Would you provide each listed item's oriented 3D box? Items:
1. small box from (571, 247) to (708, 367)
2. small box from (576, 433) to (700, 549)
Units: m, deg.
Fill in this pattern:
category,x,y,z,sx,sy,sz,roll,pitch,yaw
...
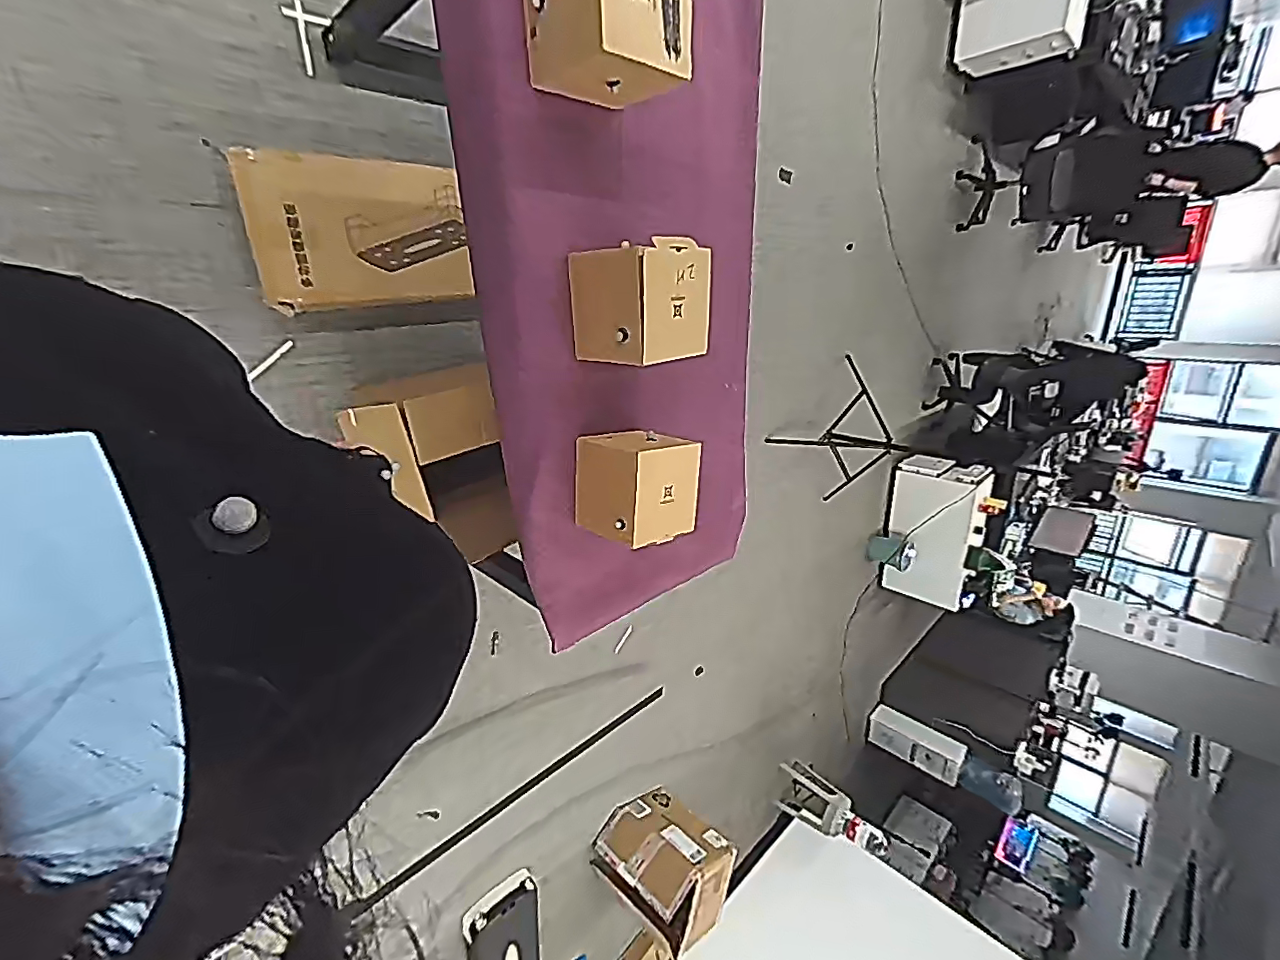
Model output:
category,x,y,z,sx,sy,sz,roll,pitch,yaw
small box,-0.001,-0.296,0.921,0.168,0.176,0.179,-22,118,-43
small box,-0.007,0.009,1.014,0.168,0.176,0.179,-12,111,-43
